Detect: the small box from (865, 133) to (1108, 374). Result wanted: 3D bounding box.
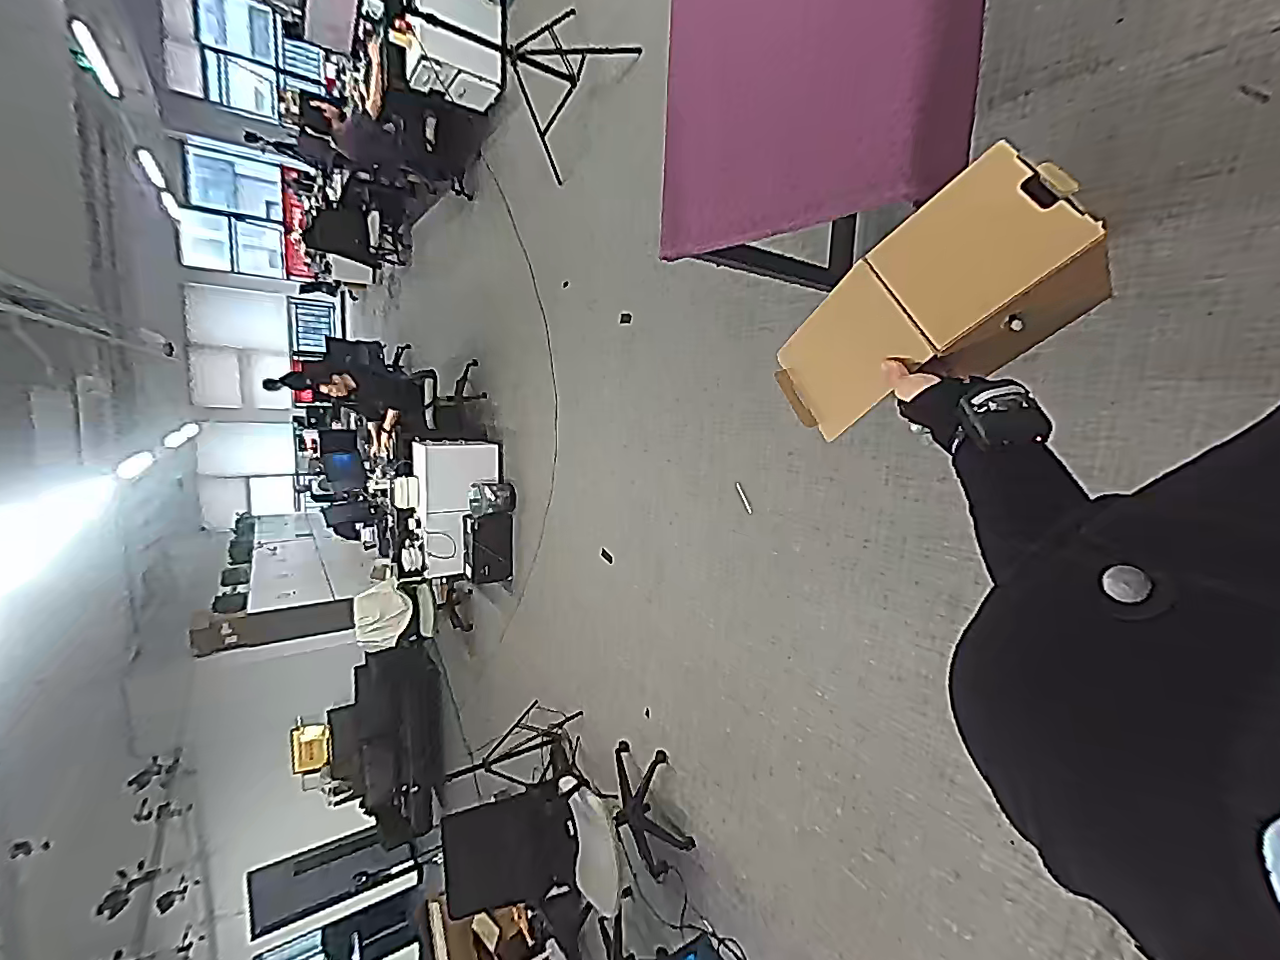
[{"bbox_3d":[0.417,-0.255,0.652,0.179,0.176,0.168,-40,59,31],"label":"small box"}]
